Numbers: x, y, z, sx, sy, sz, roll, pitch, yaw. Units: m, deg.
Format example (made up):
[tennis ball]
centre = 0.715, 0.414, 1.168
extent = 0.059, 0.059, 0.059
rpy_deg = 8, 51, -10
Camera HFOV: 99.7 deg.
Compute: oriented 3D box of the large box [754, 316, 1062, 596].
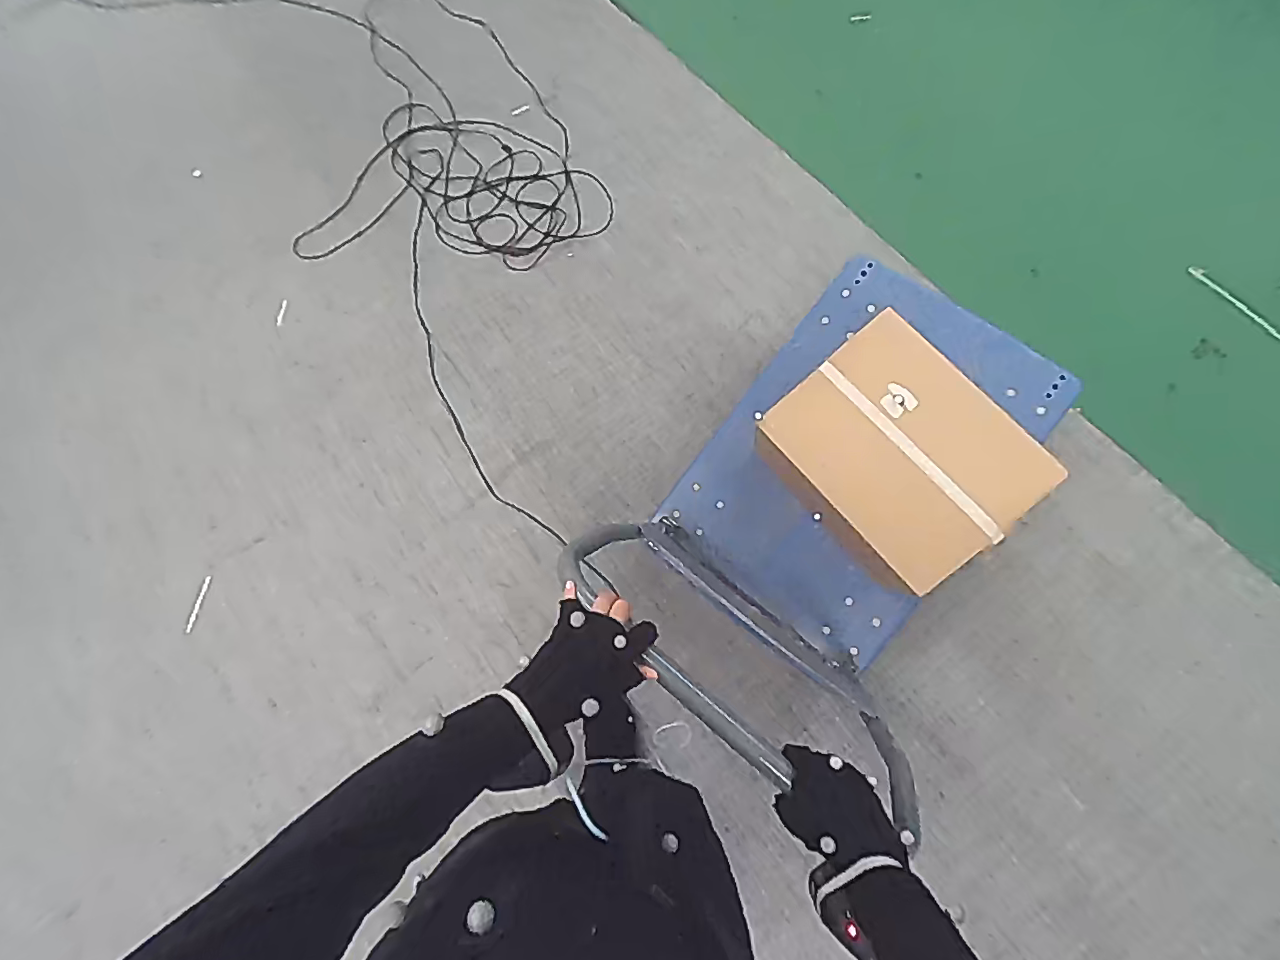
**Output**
[large box]
centre = 0.478, -0.031, 1.069
extent = 0.320, 0.320, 0.408
rpy_deg = -41, 77, 4
